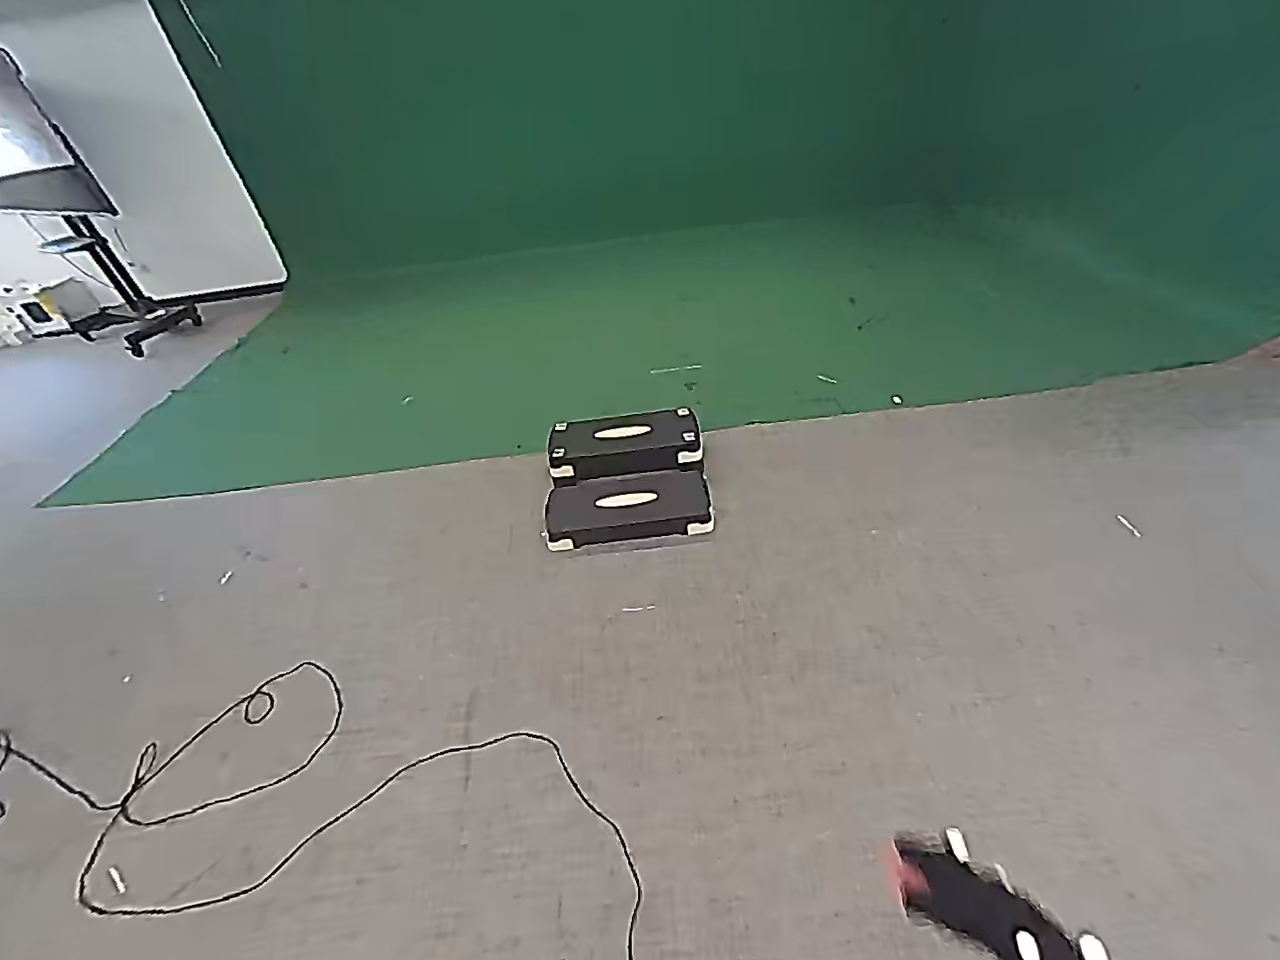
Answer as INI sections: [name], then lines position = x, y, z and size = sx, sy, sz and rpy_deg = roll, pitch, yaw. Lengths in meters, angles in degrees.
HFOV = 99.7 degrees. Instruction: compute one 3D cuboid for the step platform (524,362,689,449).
[step platform]
position = -0.133, -0.320, 2.313
size = 0.684, 0.204, 0.286
rpy_deg = -7, 40, 2
